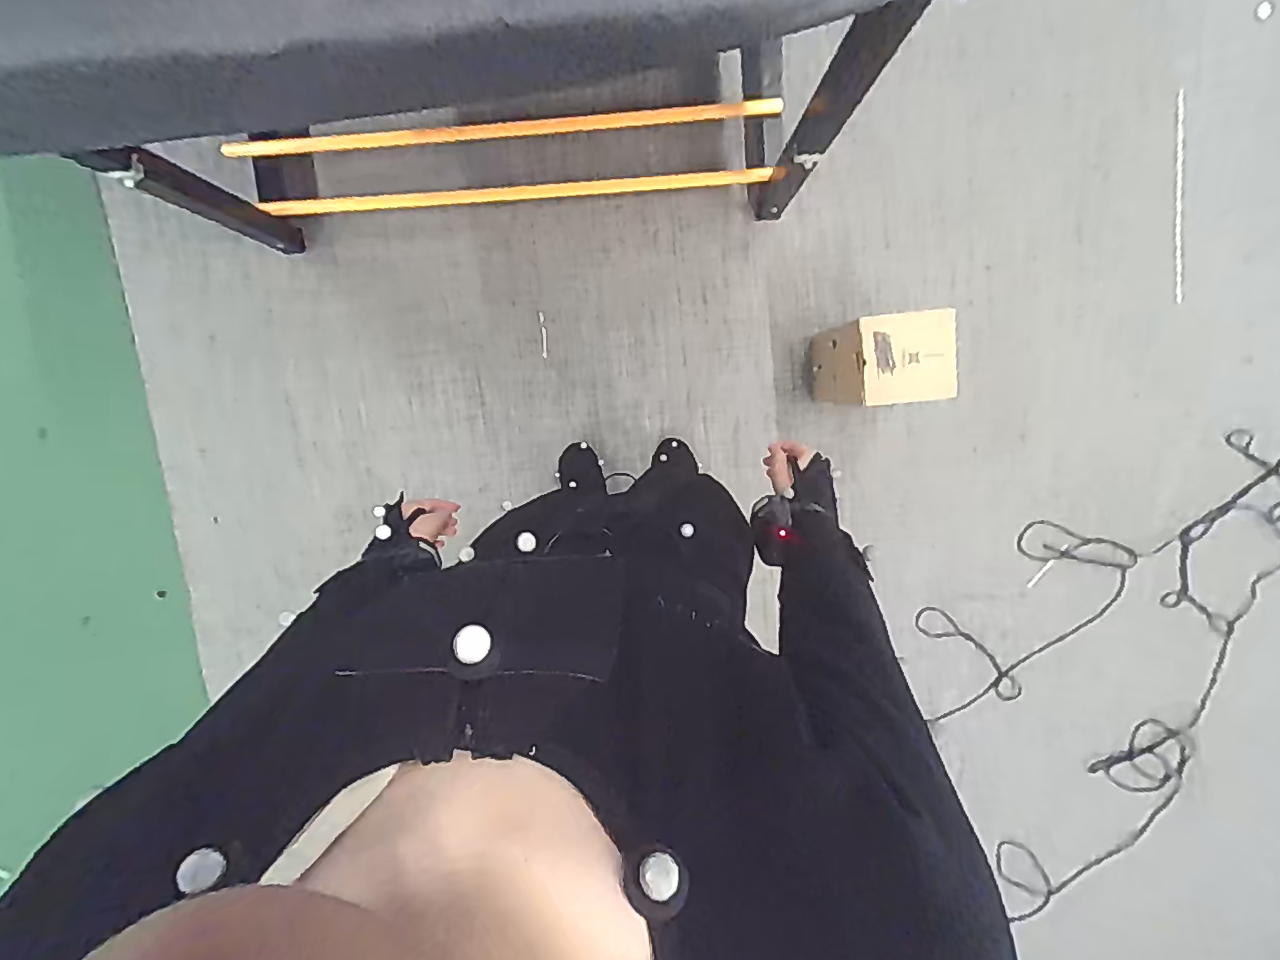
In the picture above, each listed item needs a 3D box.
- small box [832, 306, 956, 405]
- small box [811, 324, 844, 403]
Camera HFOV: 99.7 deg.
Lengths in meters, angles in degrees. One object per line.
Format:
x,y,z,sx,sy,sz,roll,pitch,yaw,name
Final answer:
0.493,-0.239,1.073,0.179,0.176,0.168,-6,97,0,small box
0.505,-0.264,1.235,0.179,0.176,0.168,-4,97,0,small box
